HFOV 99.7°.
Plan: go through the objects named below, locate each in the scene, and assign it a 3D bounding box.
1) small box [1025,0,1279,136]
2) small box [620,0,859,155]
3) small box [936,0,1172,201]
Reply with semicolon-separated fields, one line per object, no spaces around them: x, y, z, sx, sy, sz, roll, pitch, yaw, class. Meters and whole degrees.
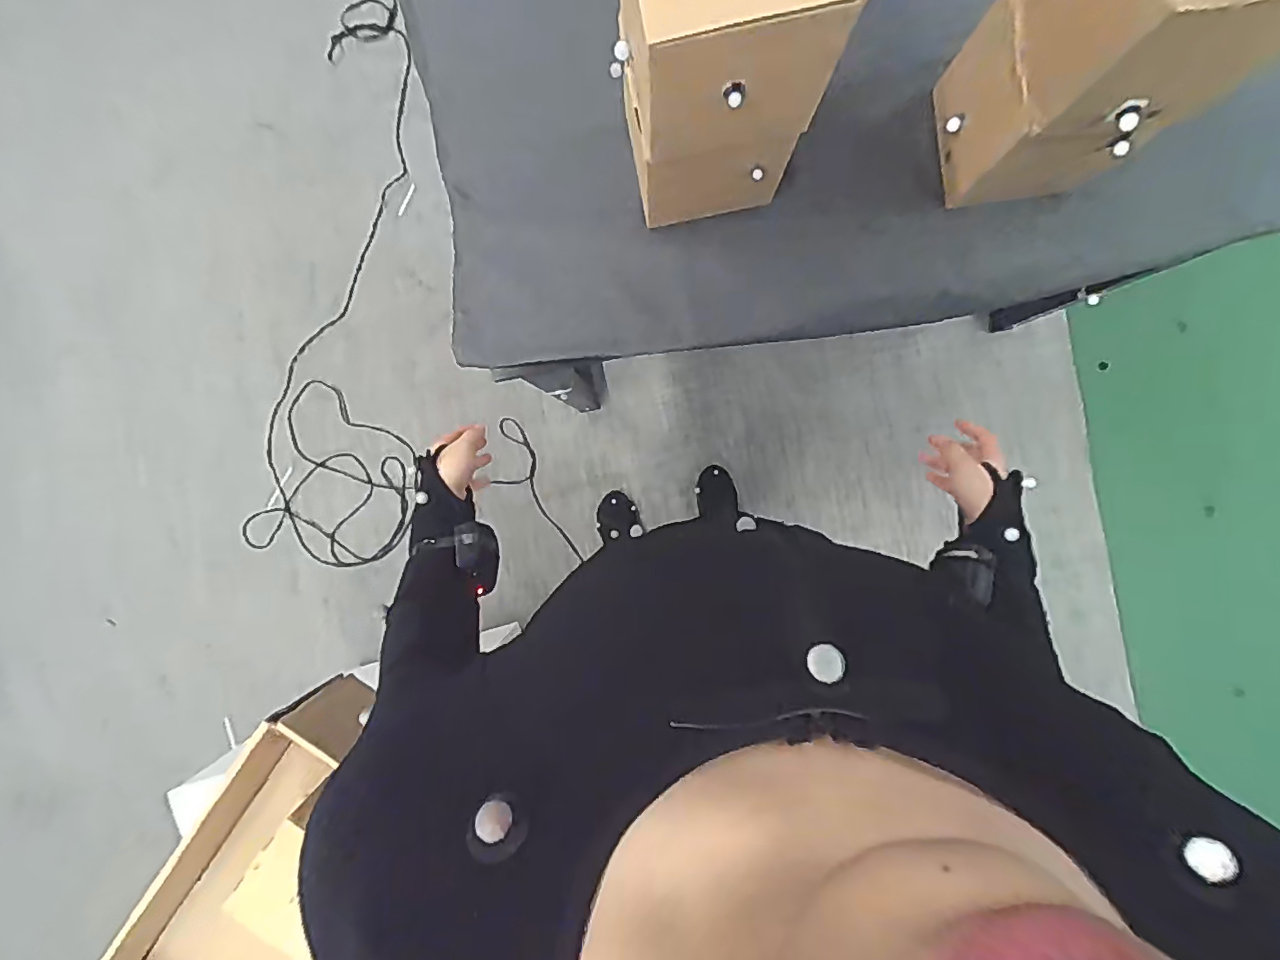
0.476;-0.447;0.478;0.168;0.176;0.179;-5;93;4;small box
0.074;-0.437;0.496;0.179;0.176;0.168;-11;92;3;small box
0.485;-0.459;0.639;0.179;0.176;0.168;-7;91;3;small box
